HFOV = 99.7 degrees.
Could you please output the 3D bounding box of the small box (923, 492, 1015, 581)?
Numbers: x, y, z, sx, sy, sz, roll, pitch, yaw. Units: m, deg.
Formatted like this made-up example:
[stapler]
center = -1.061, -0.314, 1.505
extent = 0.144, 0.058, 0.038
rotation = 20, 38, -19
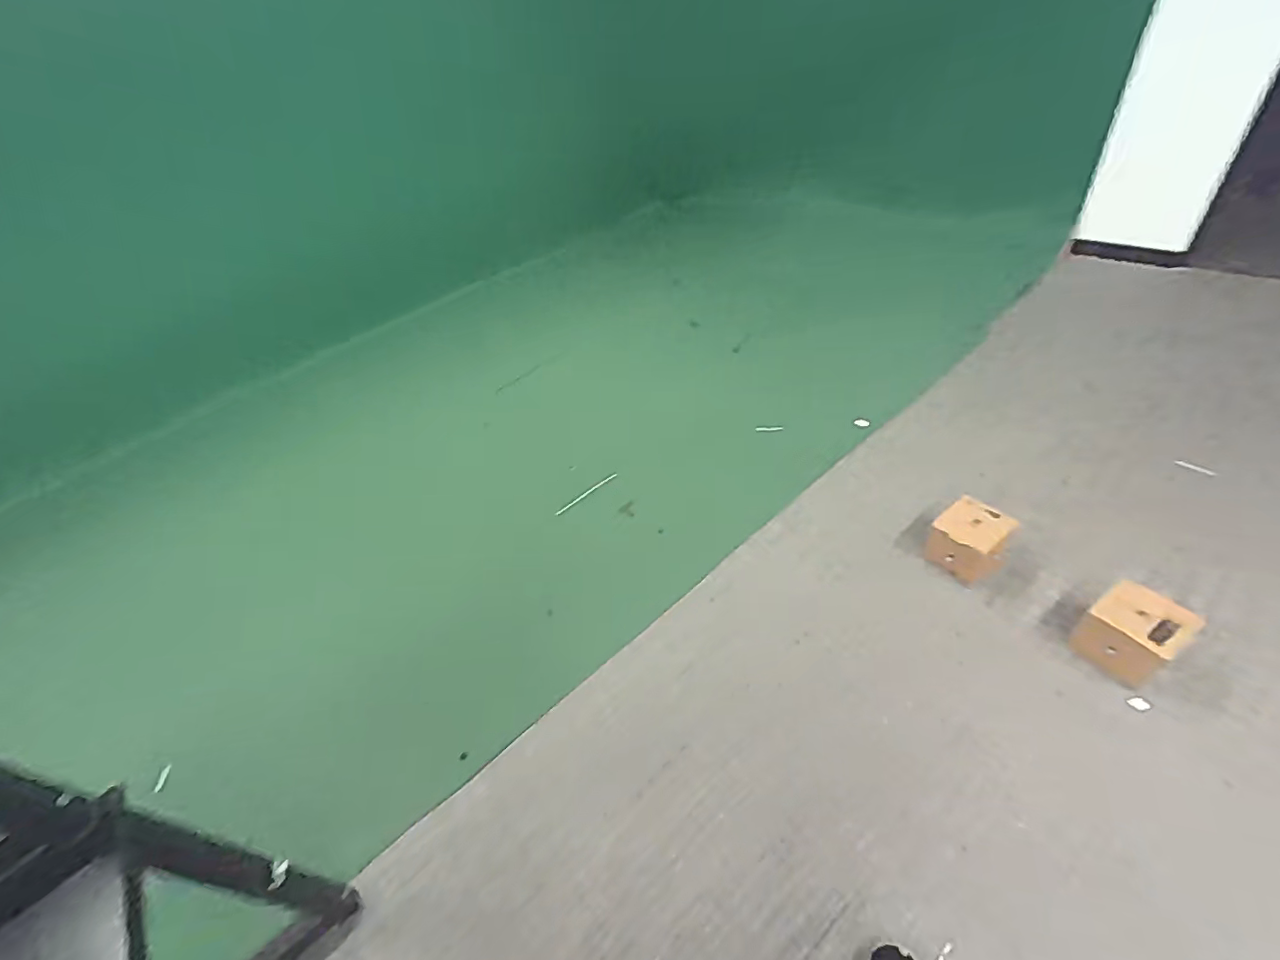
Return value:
[small box]
center = 1.000, 0.177, 1.660
extent = 0.179, 0.176, 0.168
rotation = -33, 47, -18
